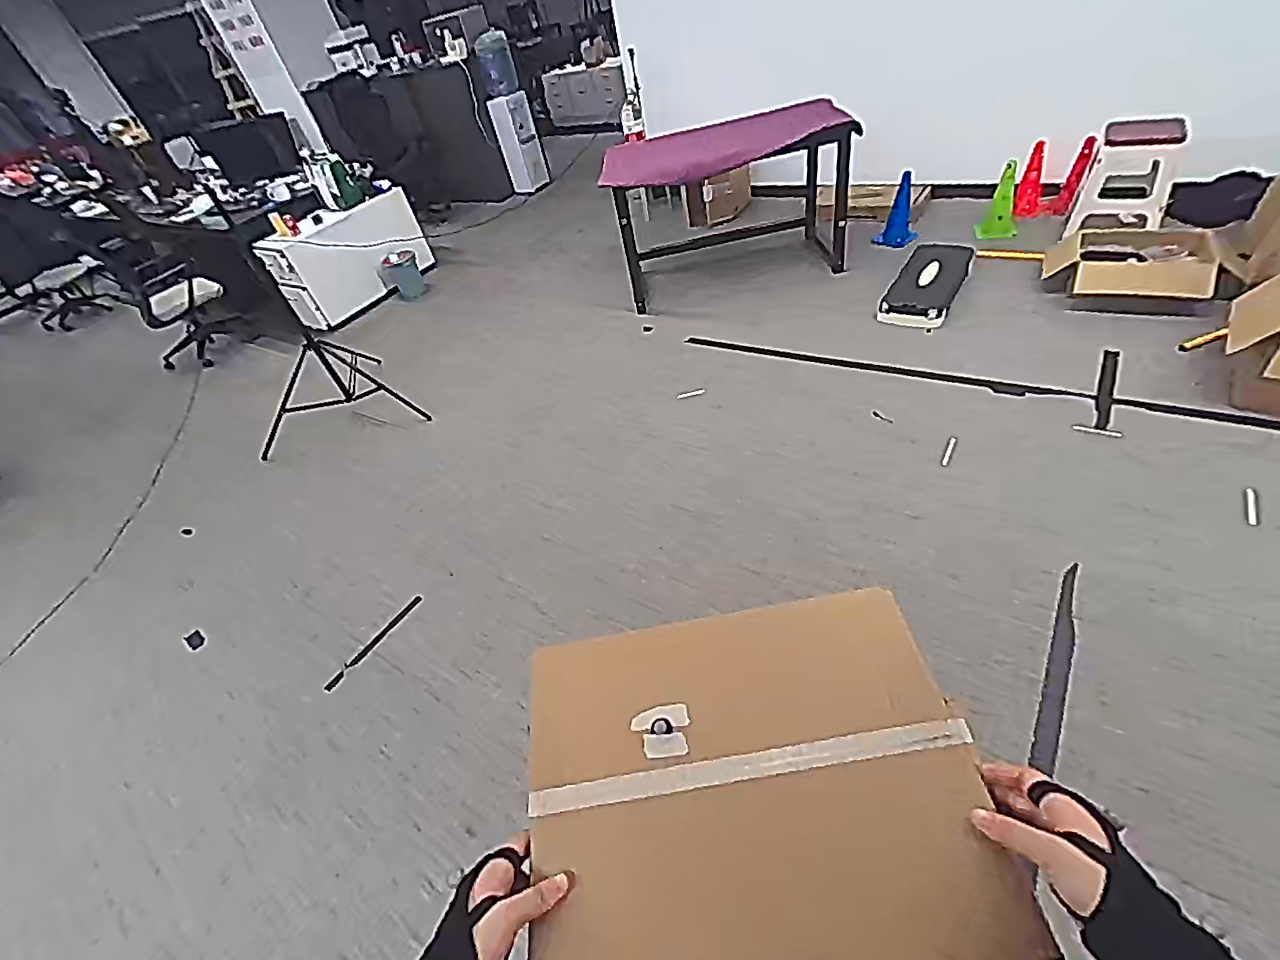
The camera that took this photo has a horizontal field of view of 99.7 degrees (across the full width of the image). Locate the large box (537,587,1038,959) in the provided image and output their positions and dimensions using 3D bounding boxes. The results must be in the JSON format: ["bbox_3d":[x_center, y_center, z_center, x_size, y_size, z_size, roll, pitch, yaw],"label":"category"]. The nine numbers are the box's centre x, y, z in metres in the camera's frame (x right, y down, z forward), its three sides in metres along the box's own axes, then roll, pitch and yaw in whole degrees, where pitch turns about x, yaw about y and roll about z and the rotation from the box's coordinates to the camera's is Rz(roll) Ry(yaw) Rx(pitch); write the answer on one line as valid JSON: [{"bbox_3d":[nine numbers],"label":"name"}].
[{"bbox_3d":[0.123,0.368,0.627,0.408,0.320,0.320,-13,47,4],"label":"large box"}]
